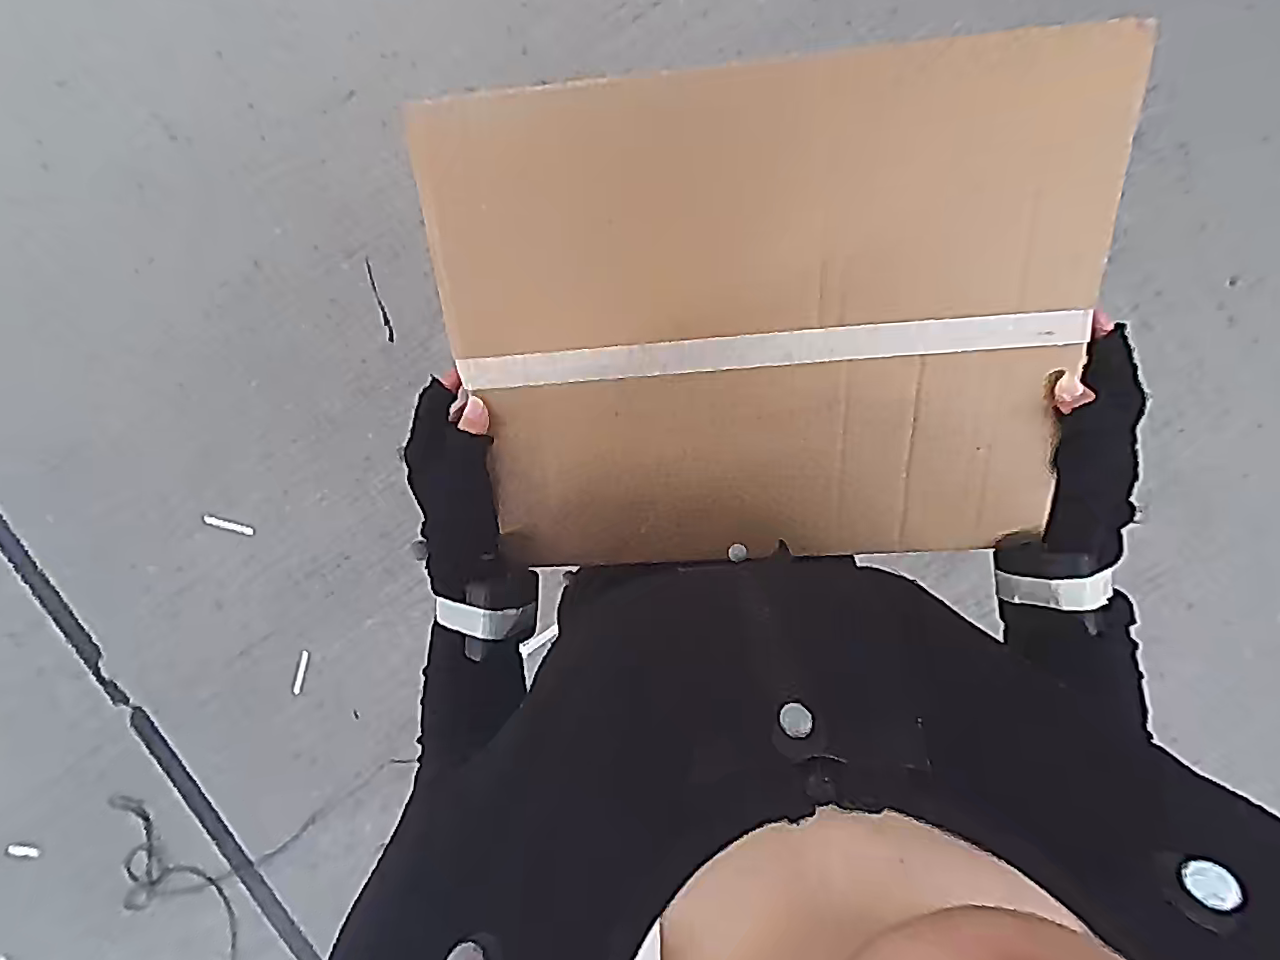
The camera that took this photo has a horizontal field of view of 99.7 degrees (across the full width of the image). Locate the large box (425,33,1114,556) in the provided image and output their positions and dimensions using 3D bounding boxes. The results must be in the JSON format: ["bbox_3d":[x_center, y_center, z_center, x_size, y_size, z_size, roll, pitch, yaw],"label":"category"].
[{"bbox_3d":[0.083,-0.150,0.505,0.408,0.320,0.320,-4,114,4],"label":"large box"}]
